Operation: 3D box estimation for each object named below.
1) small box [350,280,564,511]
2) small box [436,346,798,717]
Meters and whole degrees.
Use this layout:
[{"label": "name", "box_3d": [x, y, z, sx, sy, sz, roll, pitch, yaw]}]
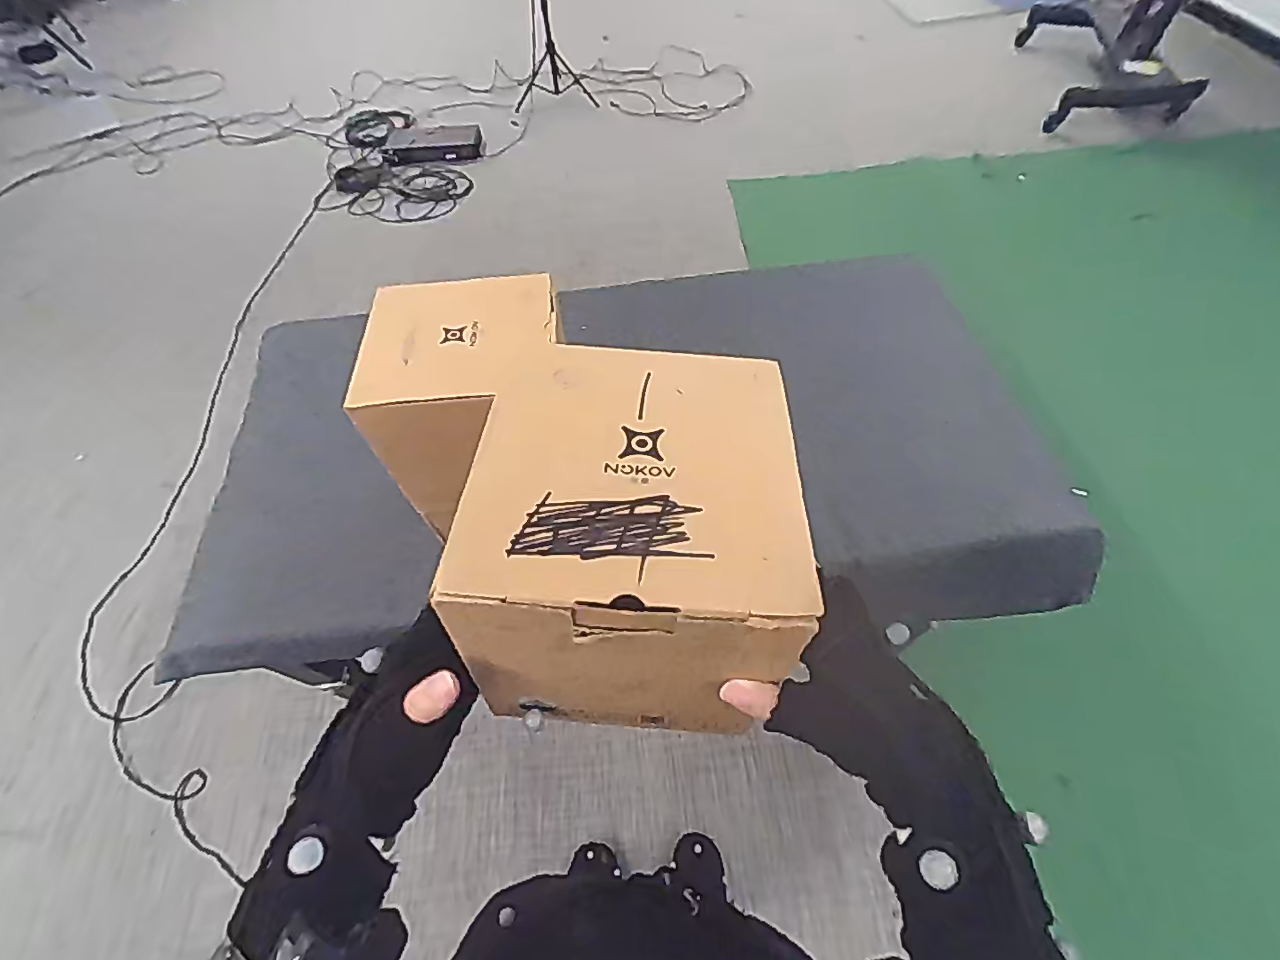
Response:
[{"label": "small box", "box_3d": [-0.164, -0.083, 0.569, 0.179, 0.176, 0.168, -6, 54, -1]}, {"label": "small box", "box_3d": [-0.008, 0.039, 0.351, 0.168, 0.176, 0.179, 5, 51, 0]}]
